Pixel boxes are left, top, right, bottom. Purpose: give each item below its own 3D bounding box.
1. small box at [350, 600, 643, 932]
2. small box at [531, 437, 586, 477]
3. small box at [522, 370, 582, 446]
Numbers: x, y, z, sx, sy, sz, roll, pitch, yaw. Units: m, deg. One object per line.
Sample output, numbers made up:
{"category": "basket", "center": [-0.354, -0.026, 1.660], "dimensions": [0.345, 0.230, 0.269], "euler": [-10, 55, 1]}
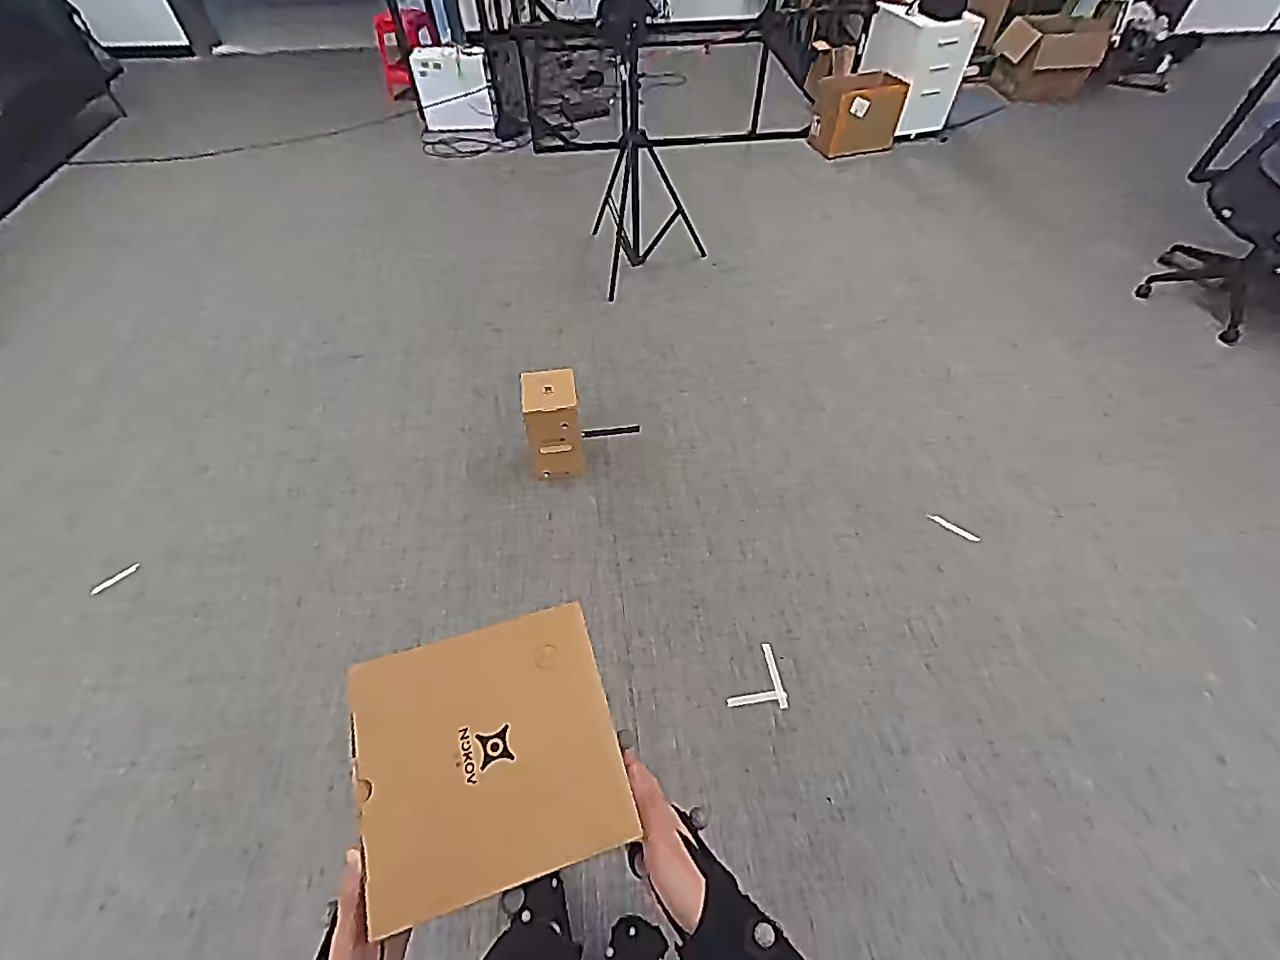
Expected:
{"category": "small box", "center": [-0.108, 0.218, 0.445], "dimensions": [0.179, 0.176, 0.168], "euler": [-16, 65, -10]}
{"category": "small box", "center": [-0.280, -0.124, 1.857], "dimensions": [0.168, 0.176, 0.179], "euler": [-7, 52, -5]}
{"category": "small box", "center": [-0.280, -0.223, 1.728], "dimensions": [0.168, 0.176, 0.179], "euler": [-7, 53, -6]}
